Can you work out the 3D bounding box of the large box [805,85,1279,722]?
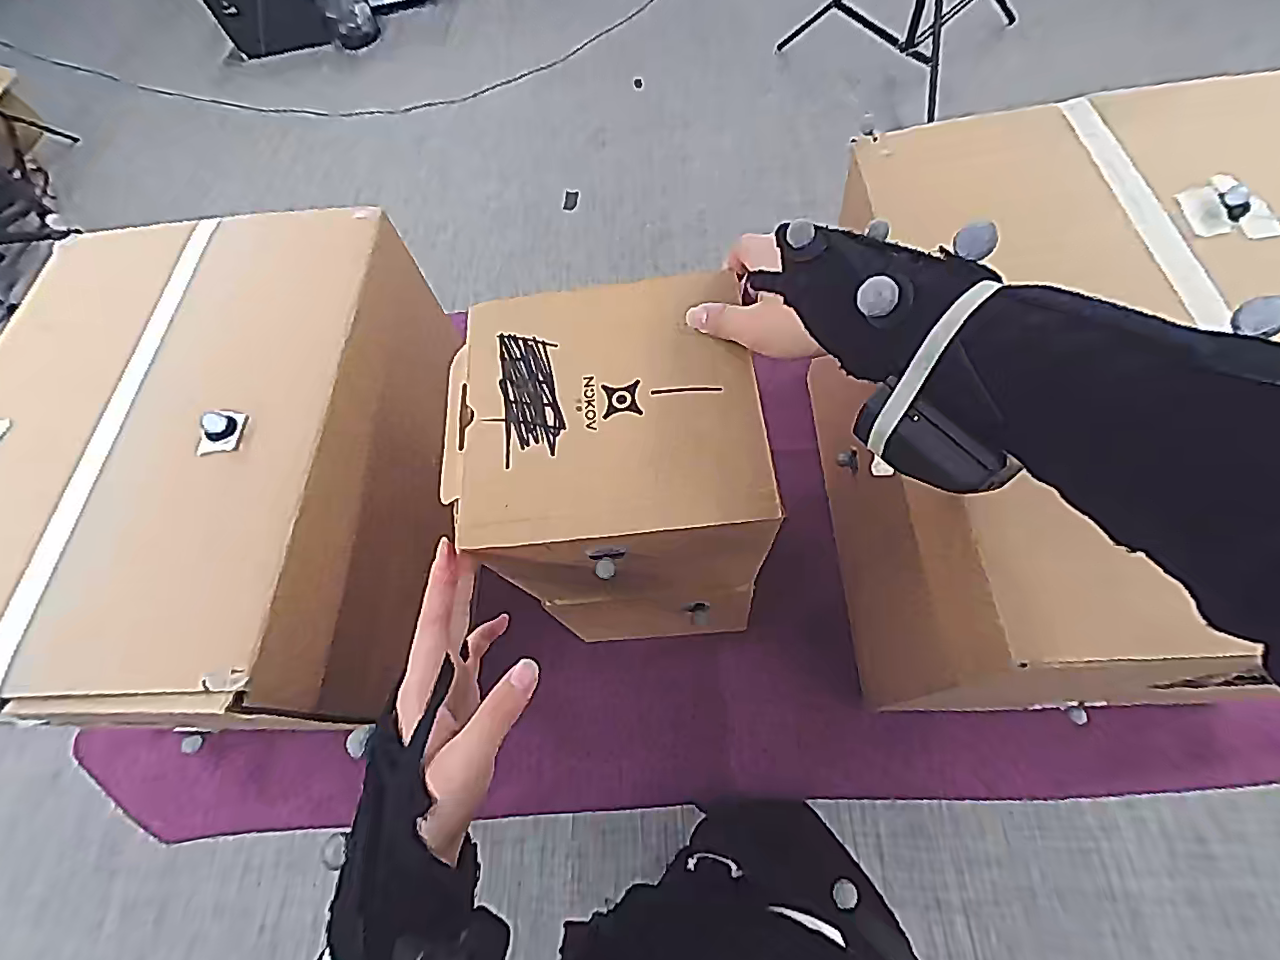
[{"bbox_3d":[0.341,-0.033,0.452,0.320,0.320,0.408,-5,62,6],"label":"large box"}]
